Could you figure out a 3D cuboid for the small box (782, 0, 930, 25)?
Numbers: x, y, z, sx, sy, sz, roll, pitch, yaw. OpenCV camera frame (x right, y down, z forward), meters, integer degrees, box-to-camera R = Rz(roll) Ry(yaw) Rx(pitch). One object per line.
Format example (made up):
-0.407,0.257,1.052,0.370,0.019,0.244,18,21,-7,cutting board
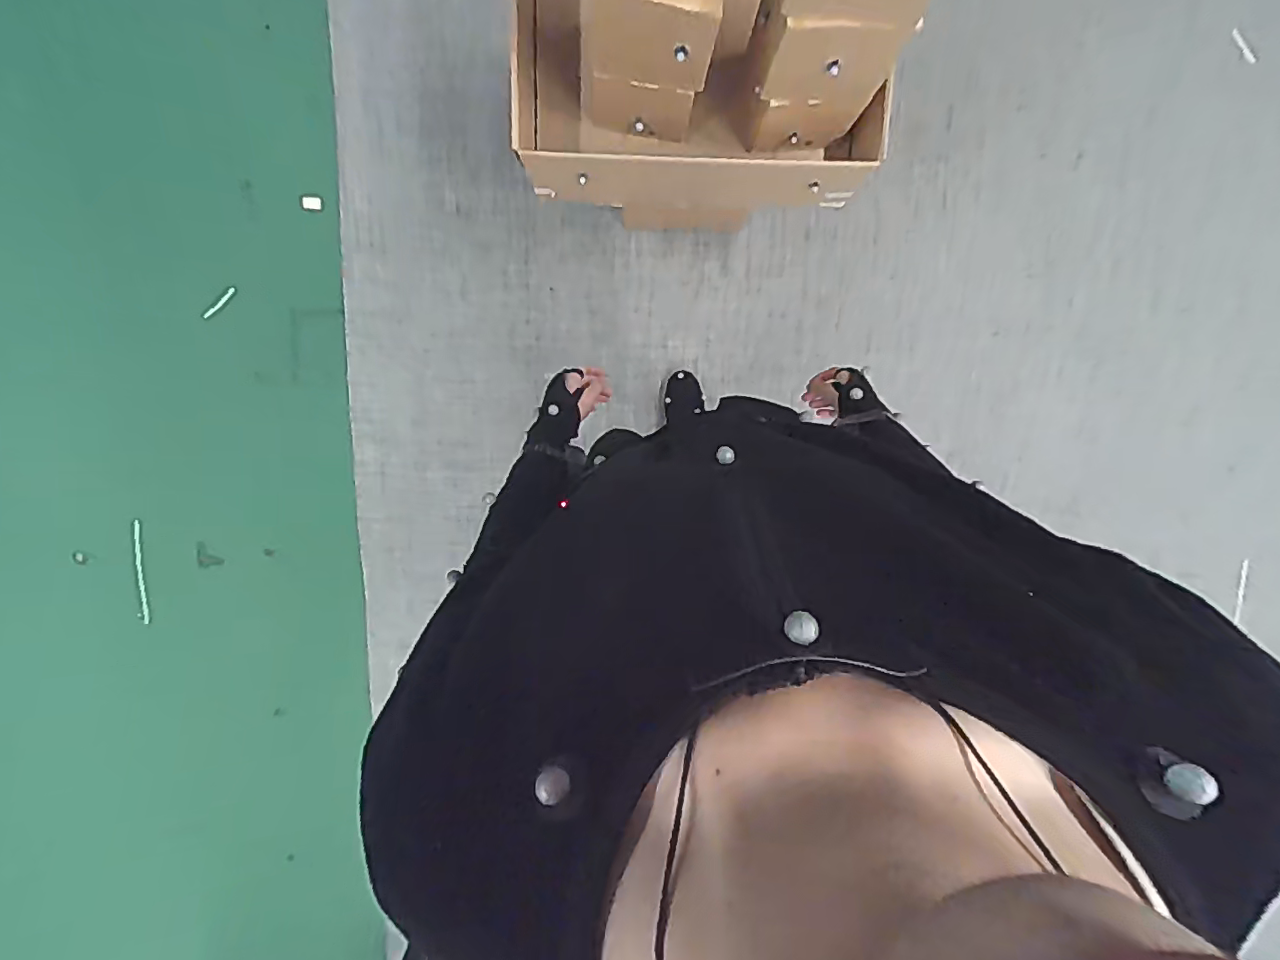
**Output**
0.268,-0.641,0.587,0.179,0.176,0.168,6,98,1,small box

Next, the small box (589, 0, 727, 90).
0.030,-0.685,0.751,0.179,0.176,0.168,8,96,-3,small box
